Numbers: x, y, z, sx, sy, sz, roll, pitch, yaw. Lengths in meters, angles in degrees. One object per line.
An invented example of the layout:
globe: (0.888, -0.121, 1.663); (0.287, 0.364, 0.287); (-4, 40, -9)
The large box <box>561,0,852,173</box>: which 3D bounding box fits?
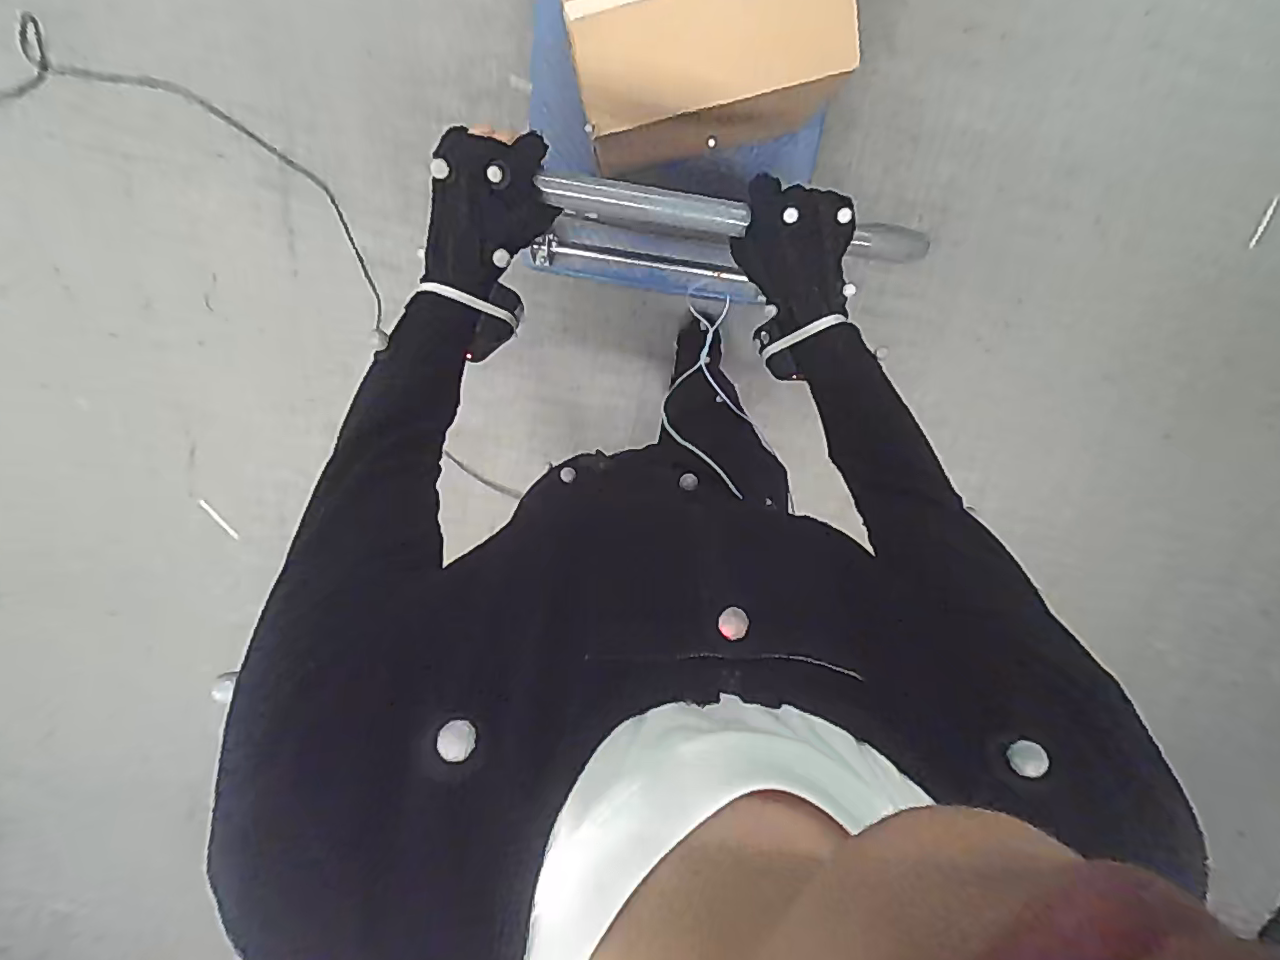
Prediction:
large box: (0.088, -0.760, 0.906); (0.408, 0.320, 0.320); (-13, 108, 4)
